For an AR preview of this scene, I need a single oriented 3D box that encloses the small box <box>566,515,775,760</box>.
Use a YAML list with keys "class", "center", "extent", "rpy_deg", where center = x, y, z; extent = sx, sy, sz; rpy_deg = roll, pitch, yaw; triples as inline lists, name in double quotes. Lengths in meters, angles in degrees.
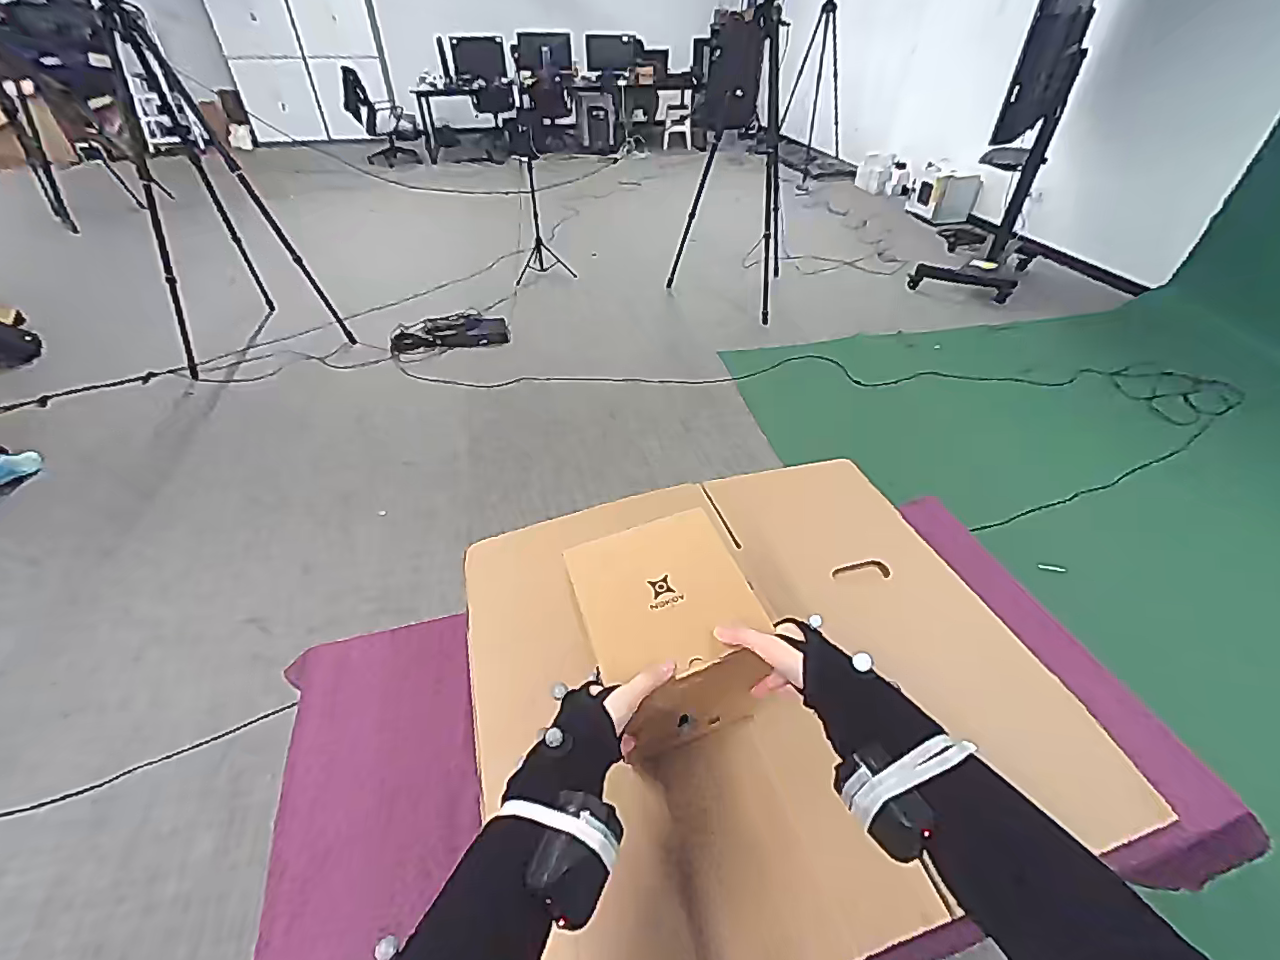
- class: "small box"
  center: [0.027, 0.174, 0.602]
  extent: [0.168, 0.176, 0.179]
  rpy_deg: [-18, 48, -12]
